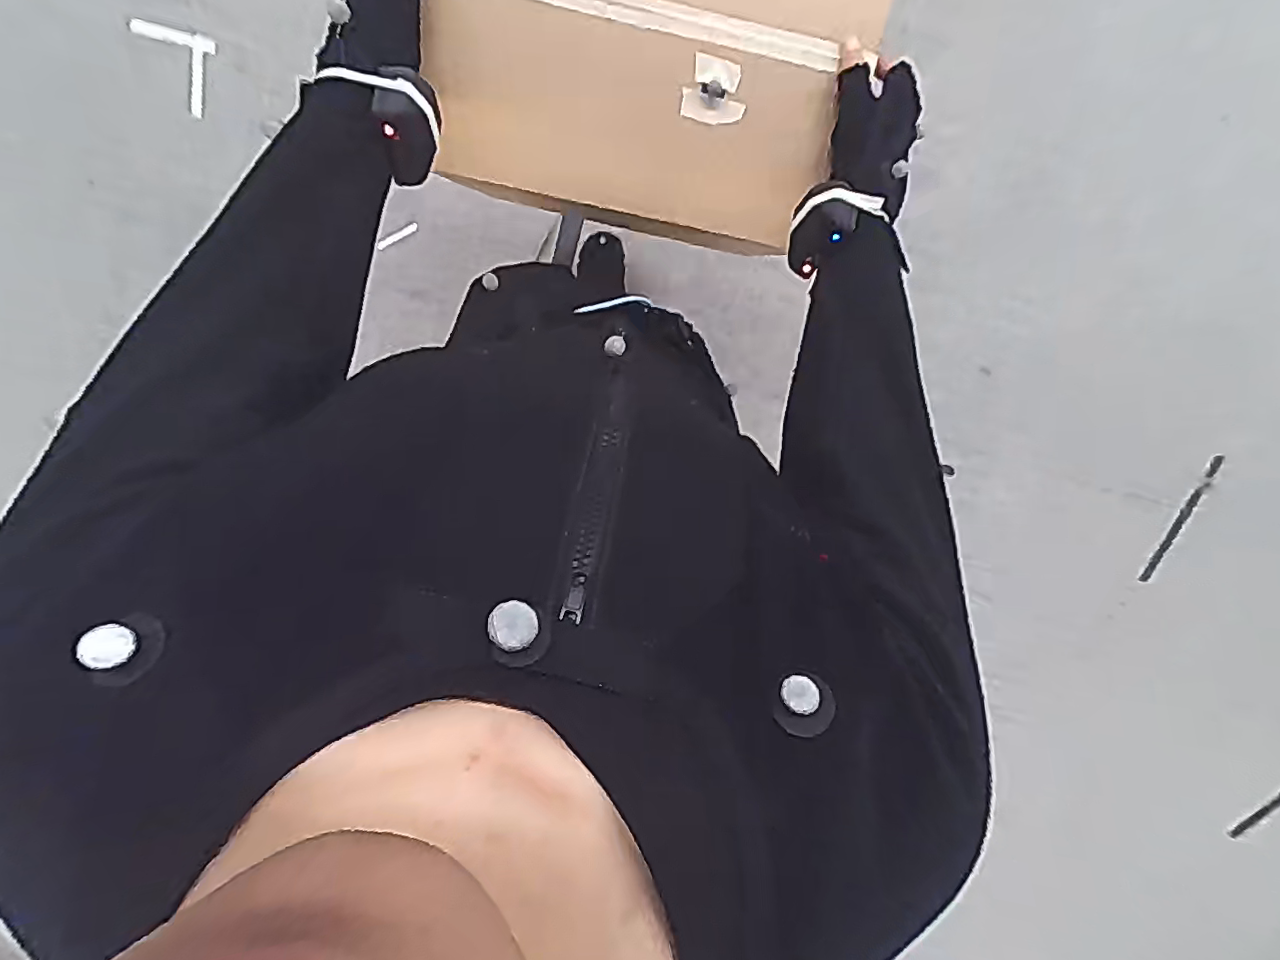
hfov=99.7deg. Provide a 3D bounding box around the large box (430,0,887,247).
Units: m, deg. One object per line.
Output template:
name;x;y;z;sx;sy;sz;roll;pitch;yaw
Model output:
large box;0.012;-0.472;0.622;0.408;0.320;0.320;10;112;-6
